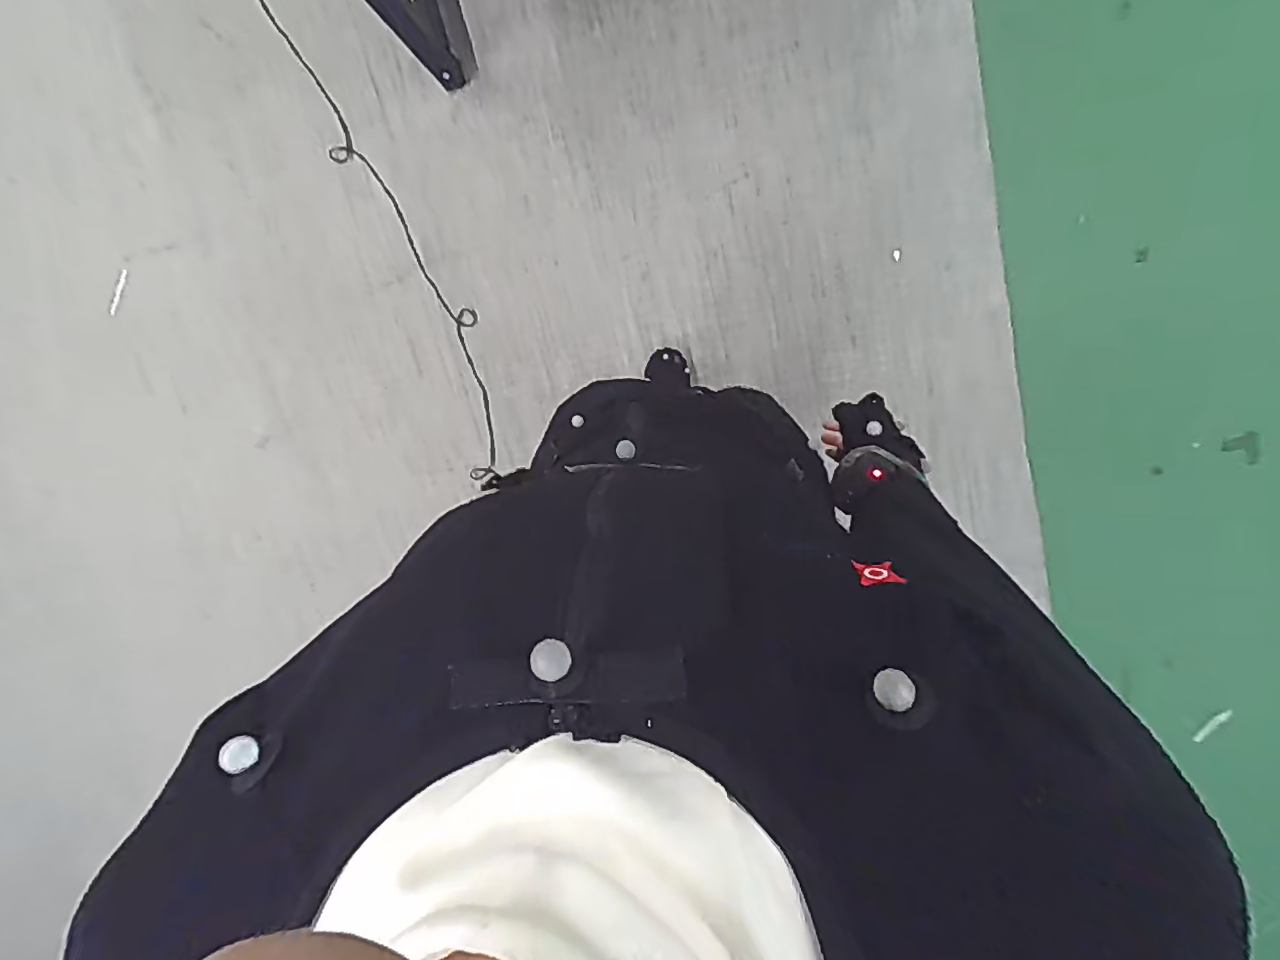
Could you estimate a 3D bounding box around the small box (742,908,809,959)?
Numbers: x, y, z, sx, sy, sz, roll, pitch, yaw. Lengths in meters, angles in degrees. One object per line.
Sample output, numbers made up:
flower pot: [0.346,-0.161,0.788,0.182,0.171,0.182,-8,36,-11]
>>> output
small box: [0.409,1.414,1.601,0.179,0.176,0.168,-12,99,9]
